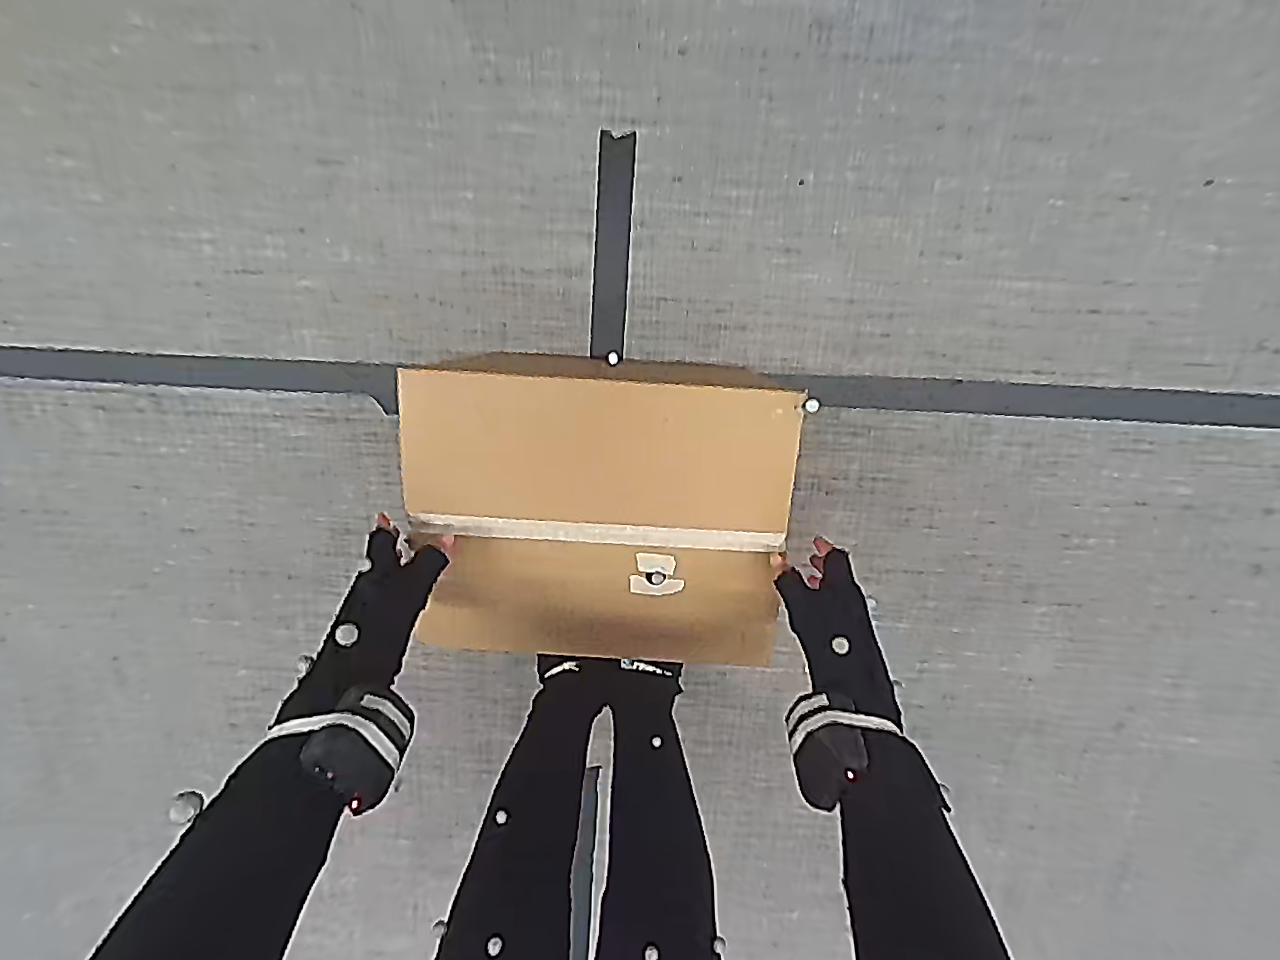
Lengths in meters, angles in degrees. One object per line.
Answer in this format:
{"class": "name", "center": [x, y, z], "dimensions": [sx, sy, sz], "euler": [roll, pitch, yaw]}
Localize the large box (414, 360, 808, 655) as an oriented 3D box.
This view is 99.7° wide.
{"class": "large box", "center": [-0.036, 0.007, 0.723], "dimensions": [0.408, 0.320, 0.320], "euler": [3, 106, 0]}
